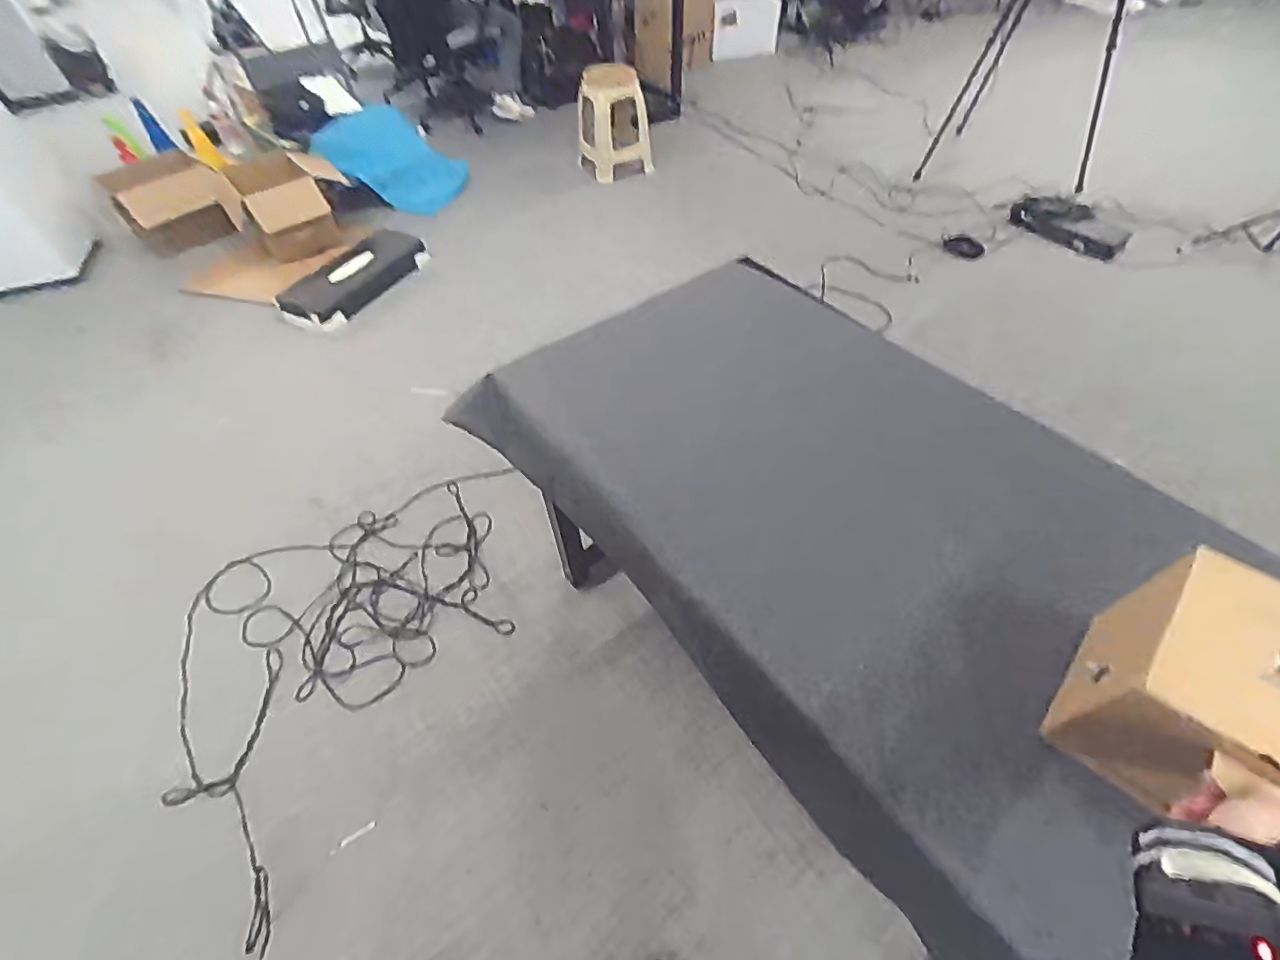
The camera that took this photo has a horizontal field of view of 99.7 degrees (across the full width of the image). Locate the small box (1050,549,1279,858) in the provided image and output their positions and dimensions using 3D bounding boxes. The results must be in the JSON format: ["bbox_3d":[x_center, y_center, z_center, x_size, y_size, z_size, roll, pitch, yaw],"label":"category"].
[{"bbox_3d":[0.522,0.205,0.492,0.168,0.176,0.179,35,62,27],"label":"small box"}]
